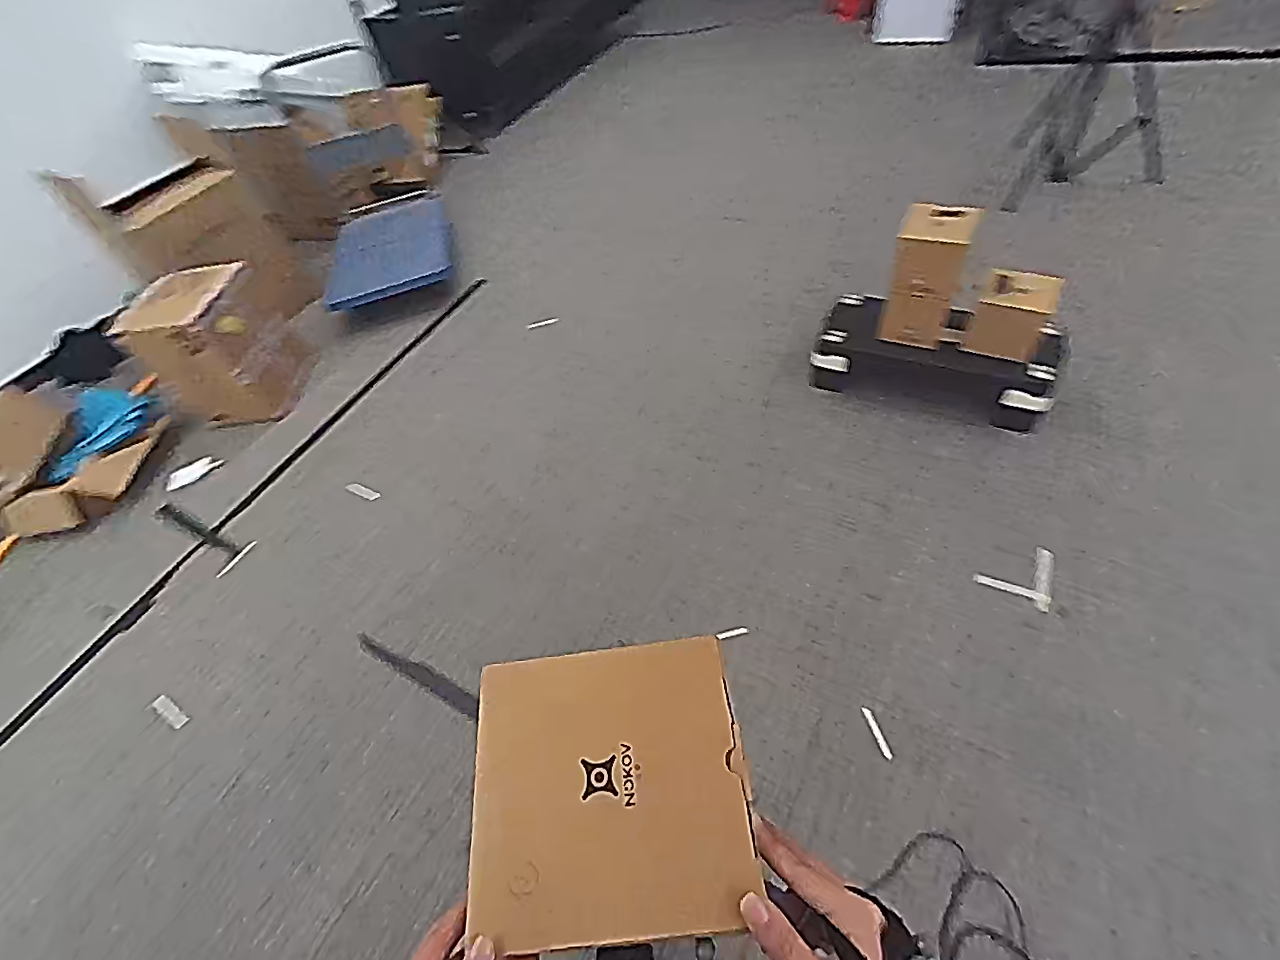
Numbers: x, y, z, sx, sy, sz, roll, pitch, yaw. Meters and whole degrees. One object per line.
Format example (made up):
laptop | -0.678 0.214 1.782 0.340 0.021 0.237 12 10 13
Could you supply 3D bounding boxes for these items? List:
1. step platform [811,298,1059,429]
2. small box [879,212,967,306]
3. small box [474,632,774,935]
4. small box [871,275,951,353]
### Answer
step platform | 0.921 -0.397 1.741 0.684 0.204 0.286 17 57 24
small box | 0.784 -0.616 1.508 0.168 0.176 0.179 18 58 25
small box | -0.005 0.232 0.414 0.179 0.176 0.168 -7 54 3
small box | 0.811 -0.513 1.633 0.168 0.176 0.179 18 58 26
